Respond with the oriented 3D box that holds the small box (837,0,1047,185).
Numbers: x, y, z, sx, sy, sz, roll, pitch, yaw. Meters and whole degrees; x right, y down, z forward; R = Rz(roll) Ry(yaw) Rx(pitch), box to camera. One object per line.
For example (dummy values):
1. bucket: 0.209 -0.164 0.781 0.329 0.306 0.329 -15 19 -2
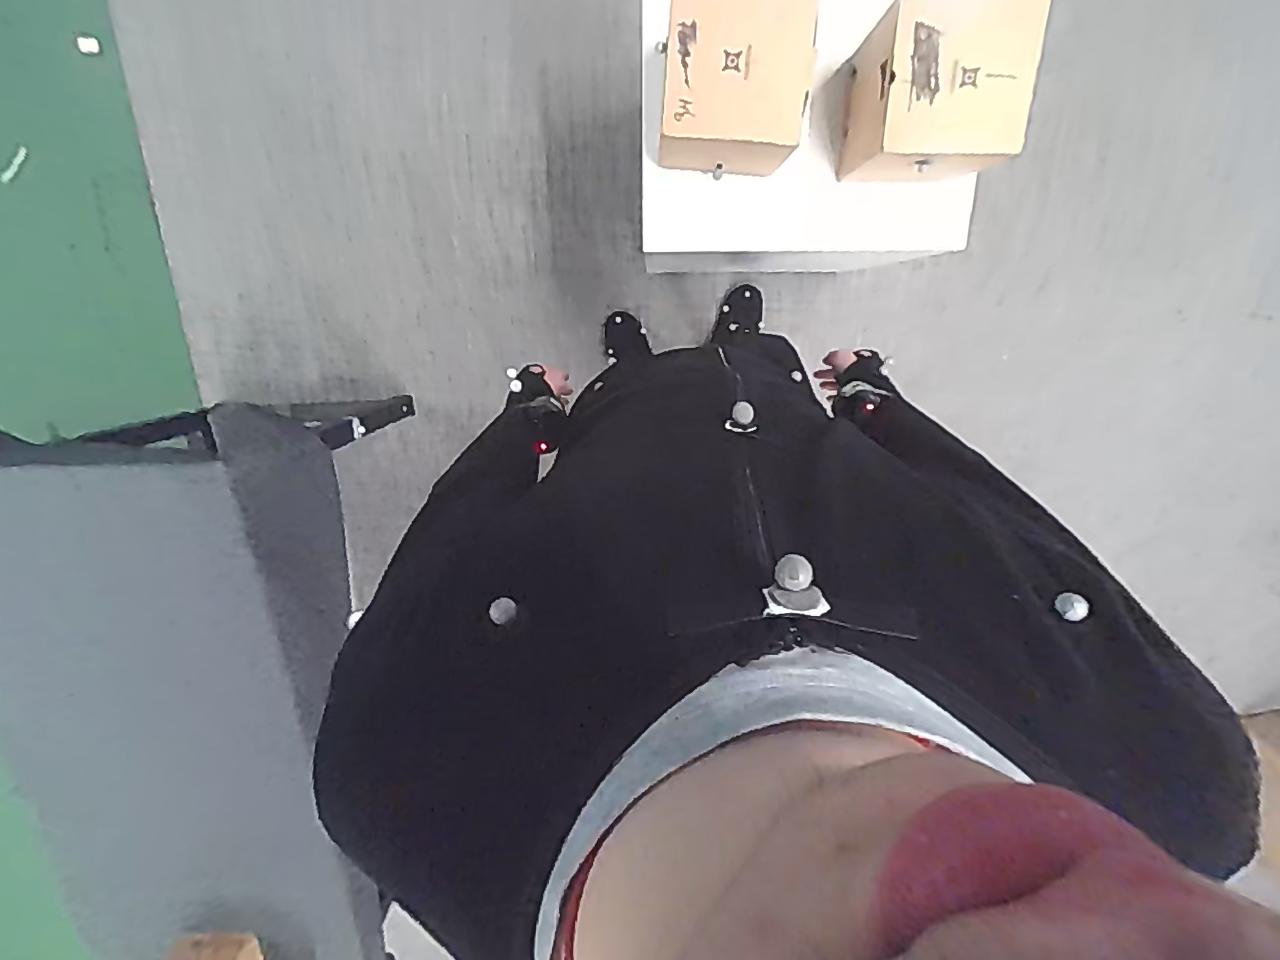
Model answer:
1. small box: 0.379 -0.500 0.717 0.179 0.176 0.168 -1 107 -2
